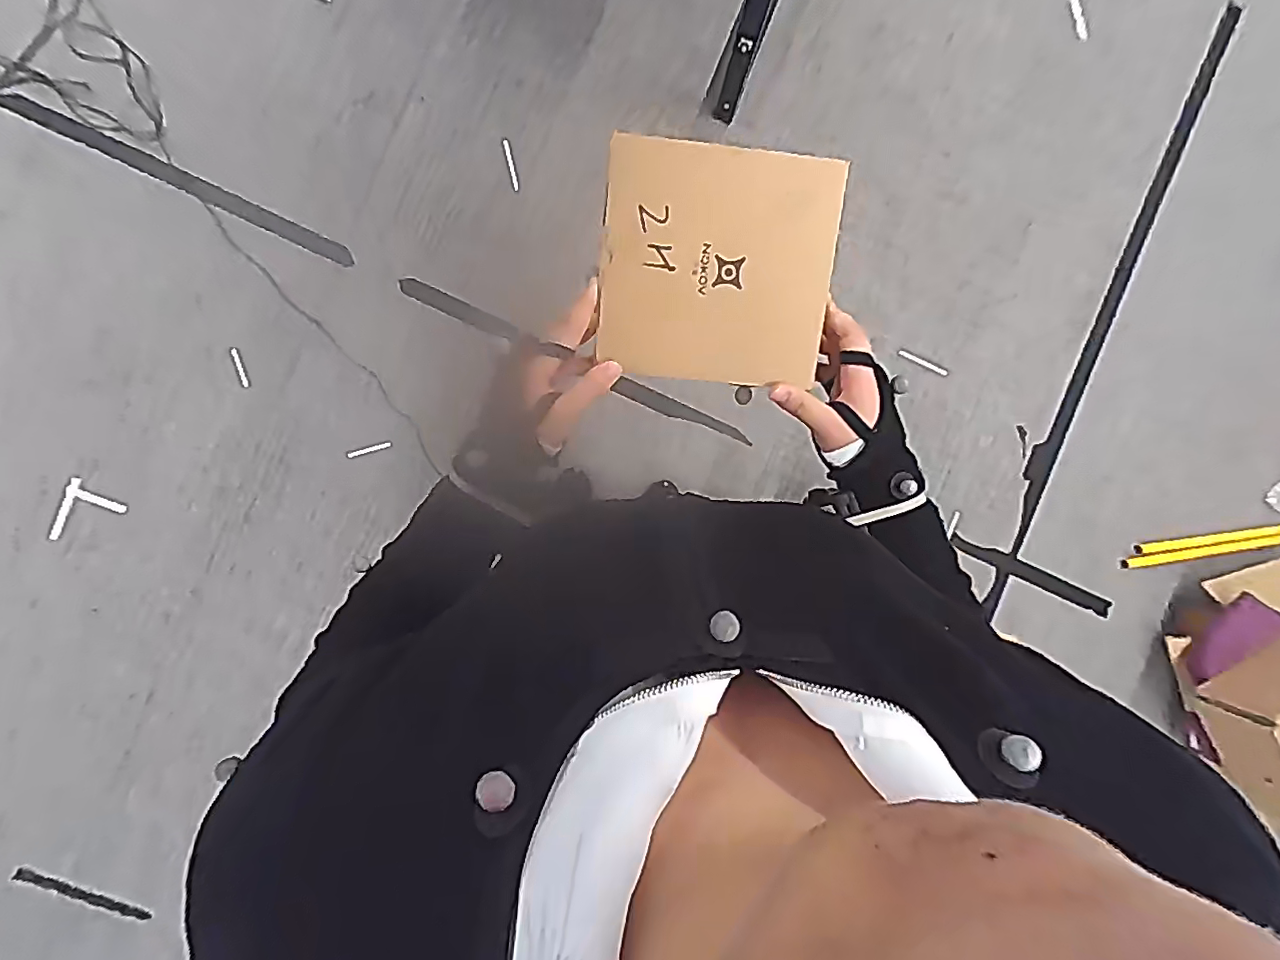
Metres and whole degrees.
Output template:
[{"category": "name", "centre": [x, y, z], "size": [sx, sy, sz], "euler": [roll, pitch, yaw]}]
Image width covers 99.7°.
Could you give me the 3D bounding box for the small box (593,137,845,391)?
[{"category": "small box", "centre": [0.052, -0.175, 0.481], "size": [0.179, 0.176, 0.168], "euler": [4, 103, -4]}]
